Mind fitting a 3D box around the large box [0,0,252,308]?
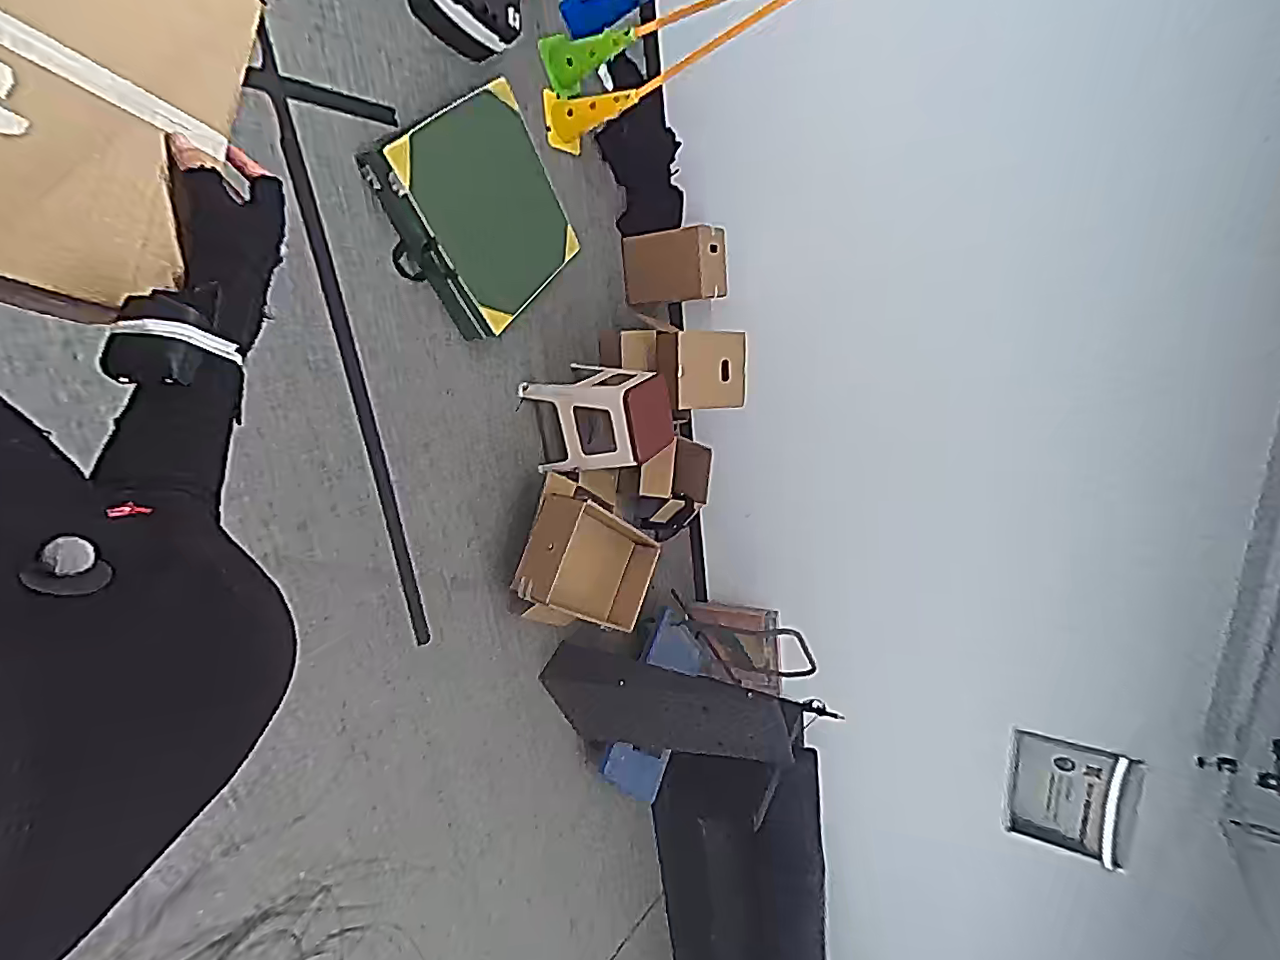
[{"bbox_3d":[-0.595,-0.345,0.384,0.408,0.320,0.320,14,89,-57],"label":"large box"}]
